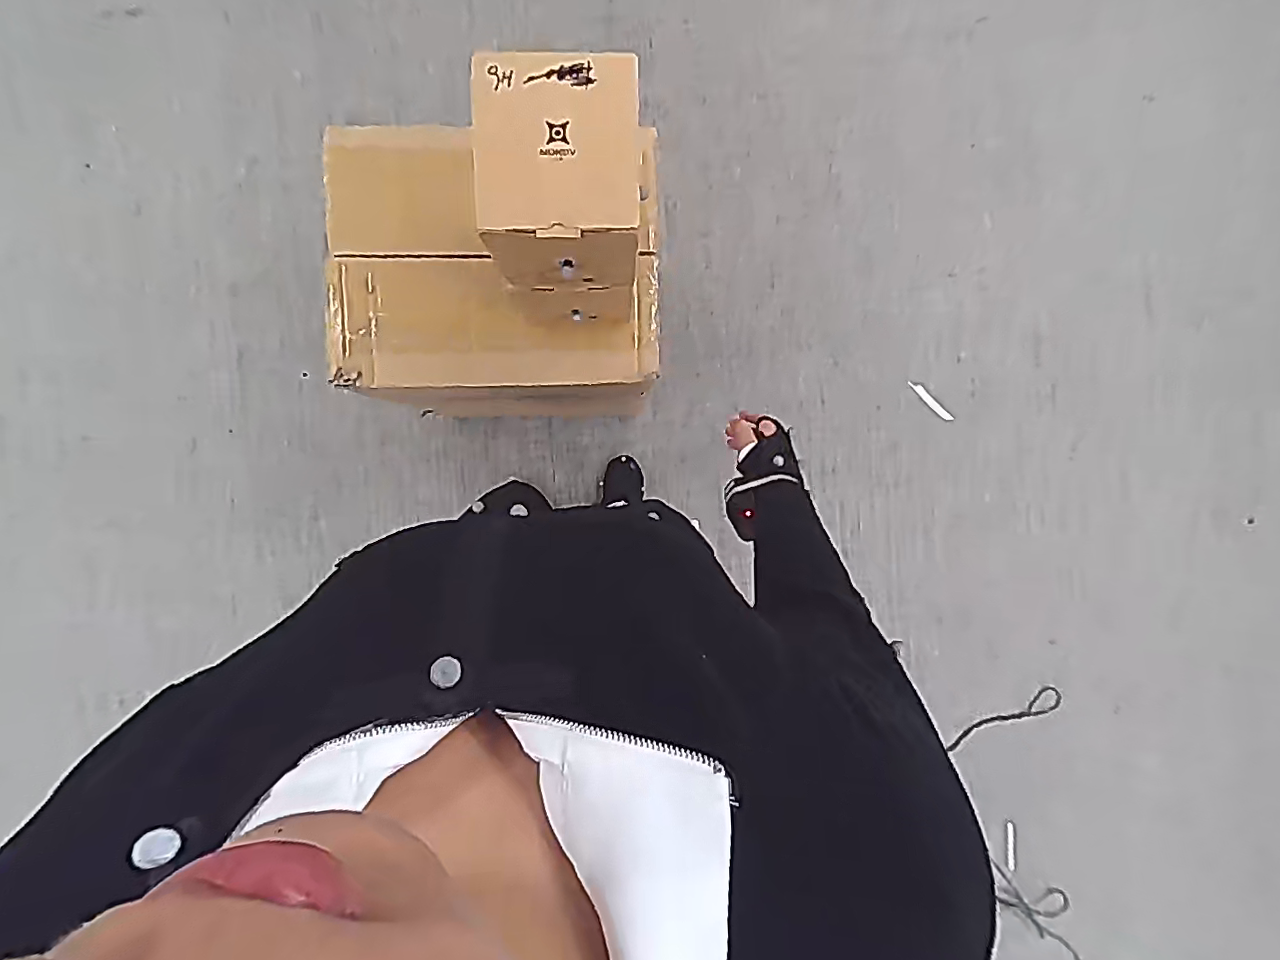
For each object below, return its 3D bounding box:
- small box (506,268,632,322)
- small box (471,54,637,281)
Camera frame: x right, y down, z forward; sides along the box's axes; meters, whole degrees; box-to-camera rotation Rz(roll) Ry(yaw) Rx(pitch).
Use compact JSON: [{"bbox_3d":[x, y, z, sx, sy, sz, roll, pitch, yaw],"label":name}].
[{"bbox_3d":[-0.097,-0.338,0.781,0.168,0.176,0.179,-2,92,-2],"label":"small box"},{"bbox_3d":[-0.086,-0.337,0.617,0.168,0.176,0.179,-1,93,-2],"label":"small box"}]
